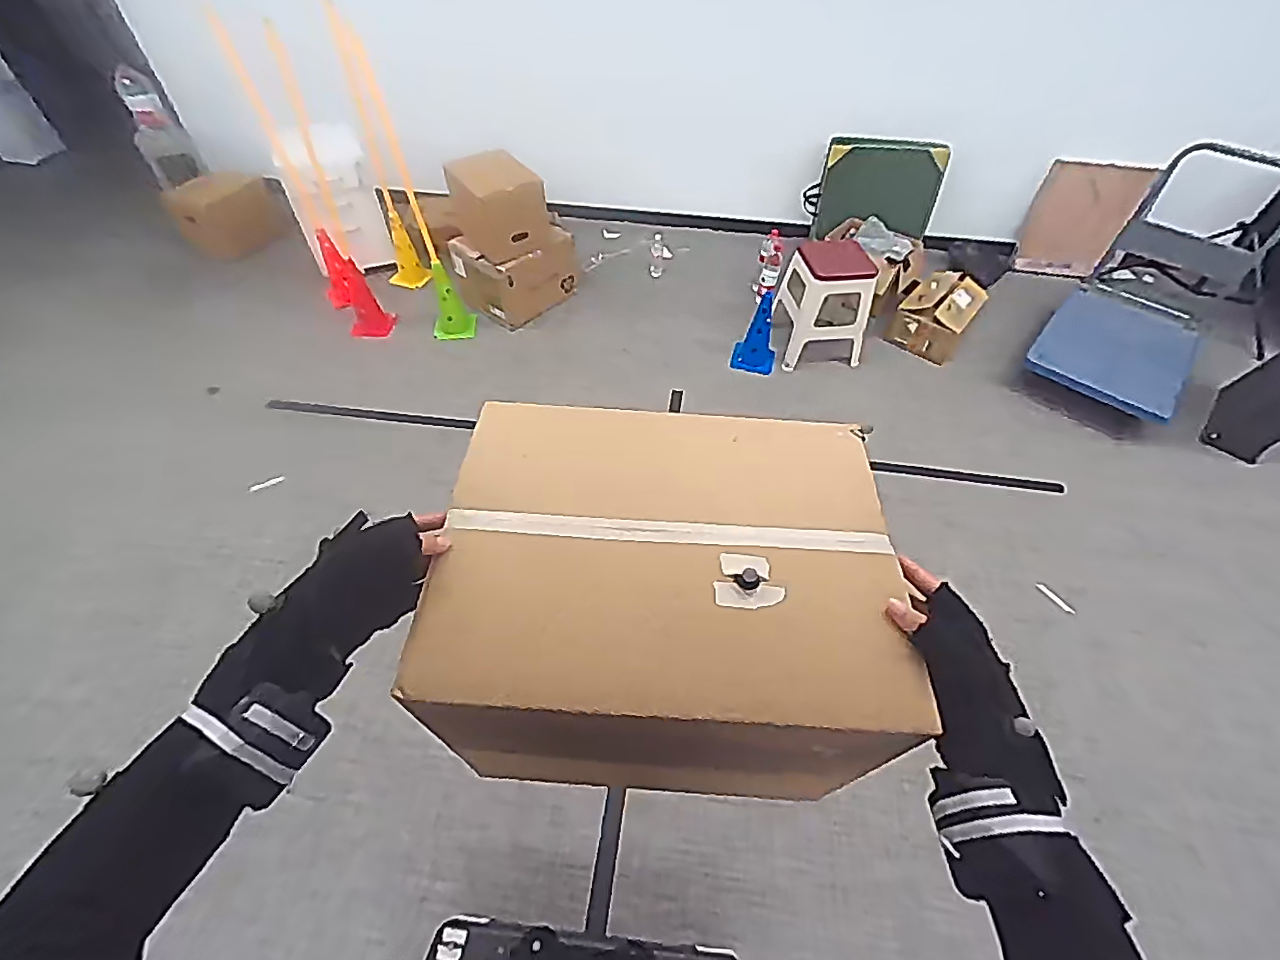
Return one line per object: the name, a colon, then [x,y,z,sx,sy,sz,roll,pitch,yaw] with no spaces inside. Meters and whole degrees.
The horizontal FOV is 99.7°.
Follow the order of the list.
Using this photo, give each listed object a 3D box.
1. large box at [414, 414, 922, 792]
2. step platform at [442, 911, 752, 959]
large box: [0.021,0.150,0.622,0.408,0.320,0.320,4,52,0]
step platform: [-0.092,1.113,1.119,0.684,0.204,0.286,6,51,2]
